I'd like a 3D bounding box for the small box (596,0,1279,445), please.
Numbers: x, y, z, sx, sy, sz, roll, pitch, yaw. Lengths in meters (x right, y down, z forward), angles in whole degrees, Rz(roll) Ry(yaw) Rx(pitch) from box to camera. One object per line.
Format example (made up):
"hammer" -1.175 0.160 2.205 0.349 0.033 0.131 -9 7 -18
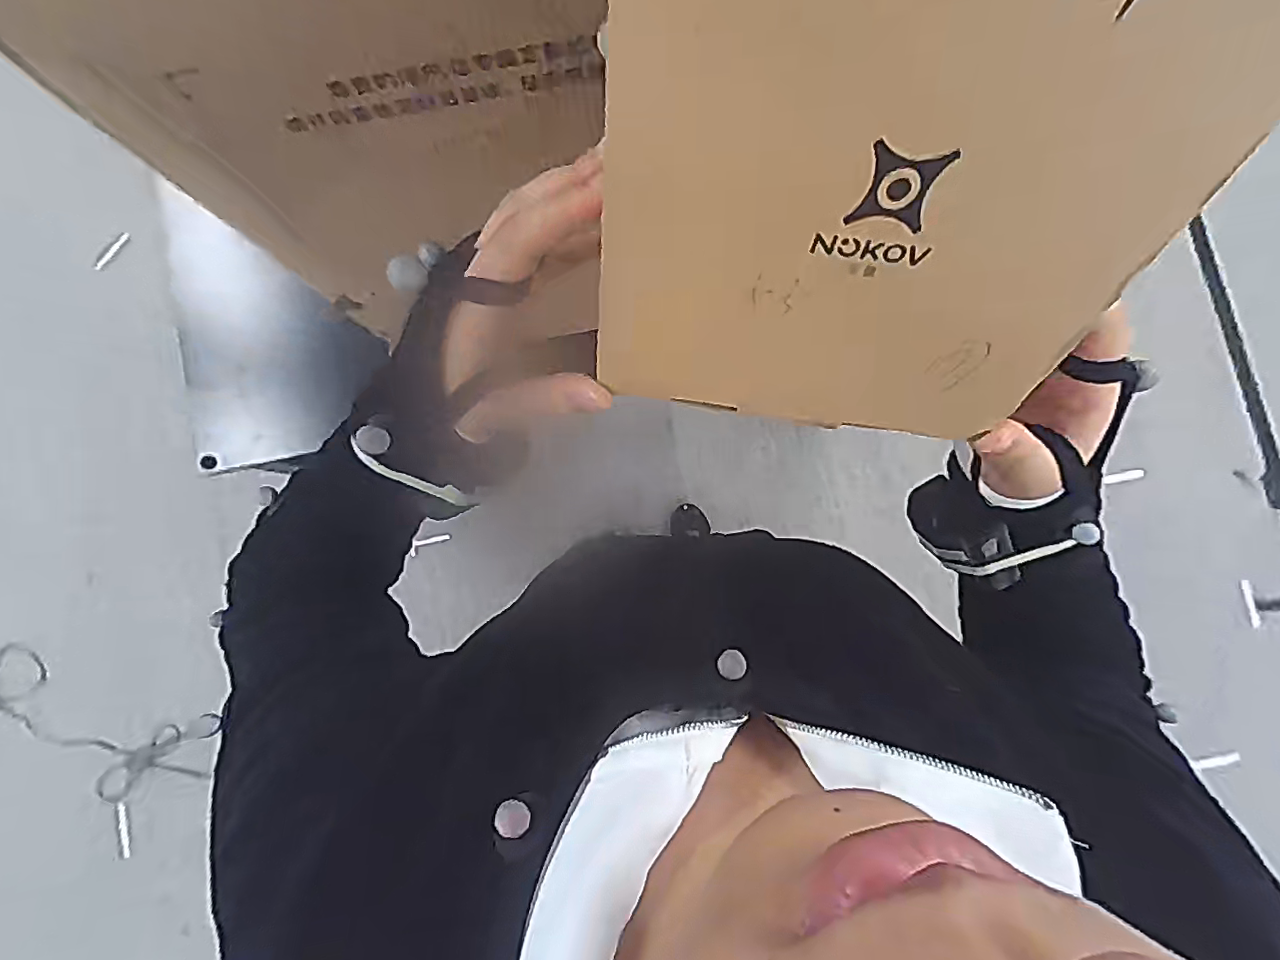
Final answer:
"small box" 0.079 -0.140 0.206 0.168 0.179 0.176 7 55 -2
